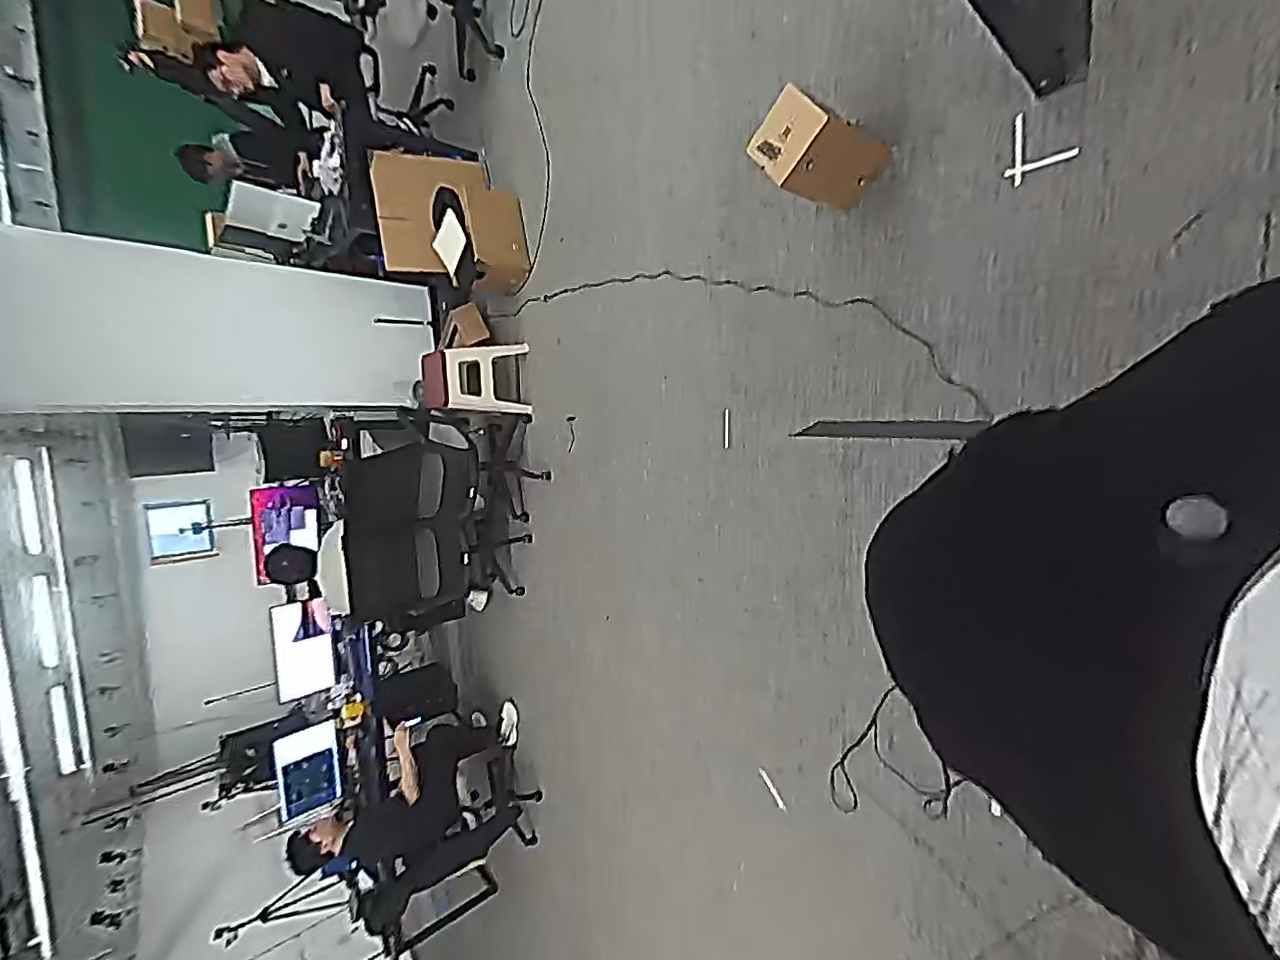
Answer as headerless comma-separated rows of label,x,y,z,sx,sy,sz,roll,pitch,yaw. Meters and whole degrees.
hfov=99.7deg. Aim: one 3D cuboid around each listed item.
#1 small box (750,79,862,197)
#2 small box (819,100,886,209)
small box,0.422,-0.857,1.374,0.179,0.176,0.168,-50,59,40
small box,0.544,-0.885,1.485,0.179,0.176,0.168,-51,58,38
